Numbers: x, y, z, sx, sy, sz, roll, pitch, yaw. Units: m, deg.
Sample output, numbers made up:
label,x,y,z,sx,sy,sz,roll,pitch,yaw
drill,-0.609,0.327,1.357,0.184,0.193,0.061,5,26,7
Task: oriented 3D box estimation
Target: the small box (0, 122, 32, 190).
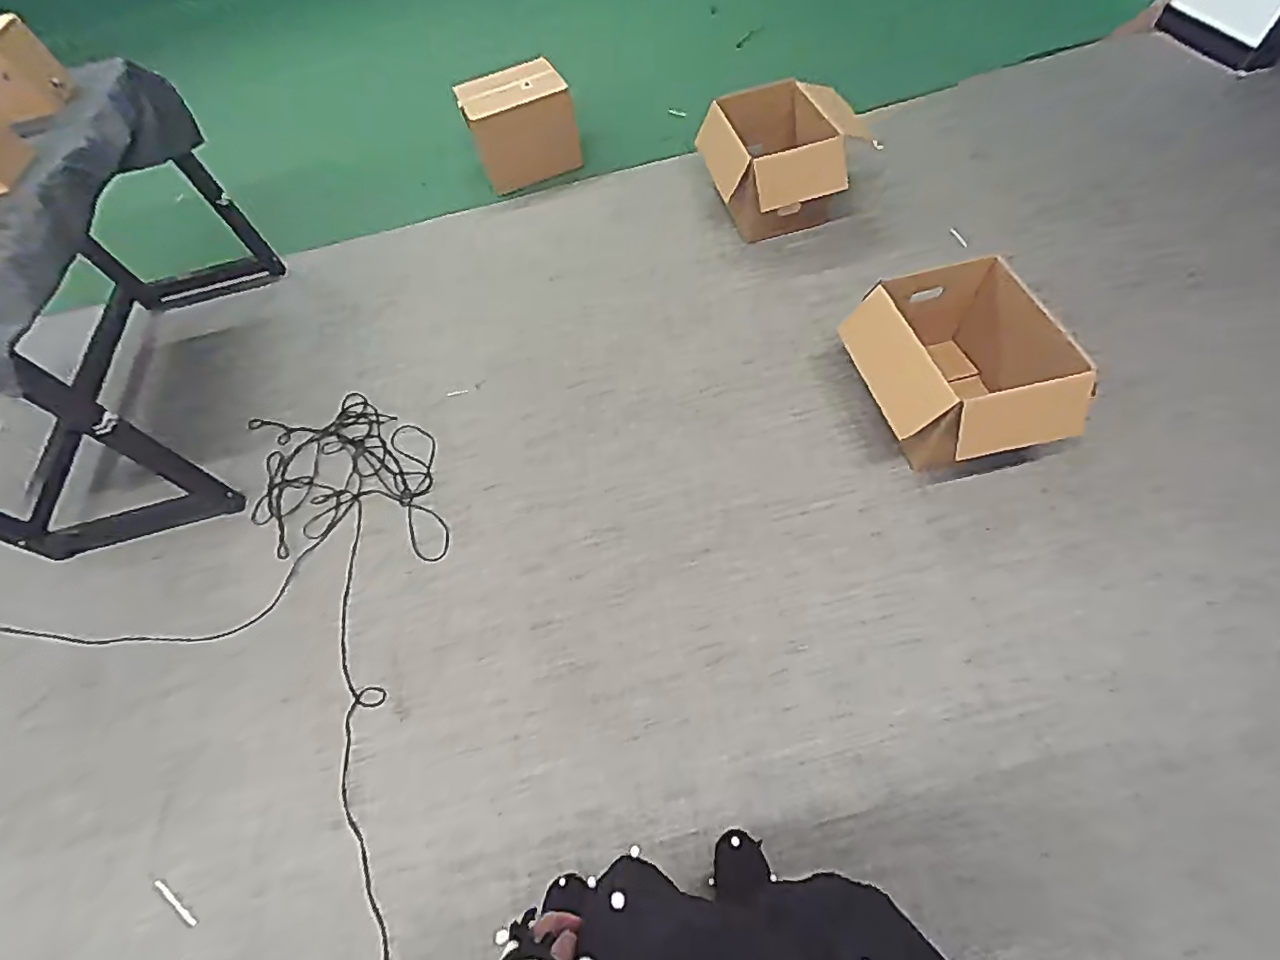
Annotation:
label,x,y,z,sx,sy,sz,roll,pitch,yaw
small box,-1.571,-0.768,1.232,0.168,0.176,0.179,-14,58,-1
